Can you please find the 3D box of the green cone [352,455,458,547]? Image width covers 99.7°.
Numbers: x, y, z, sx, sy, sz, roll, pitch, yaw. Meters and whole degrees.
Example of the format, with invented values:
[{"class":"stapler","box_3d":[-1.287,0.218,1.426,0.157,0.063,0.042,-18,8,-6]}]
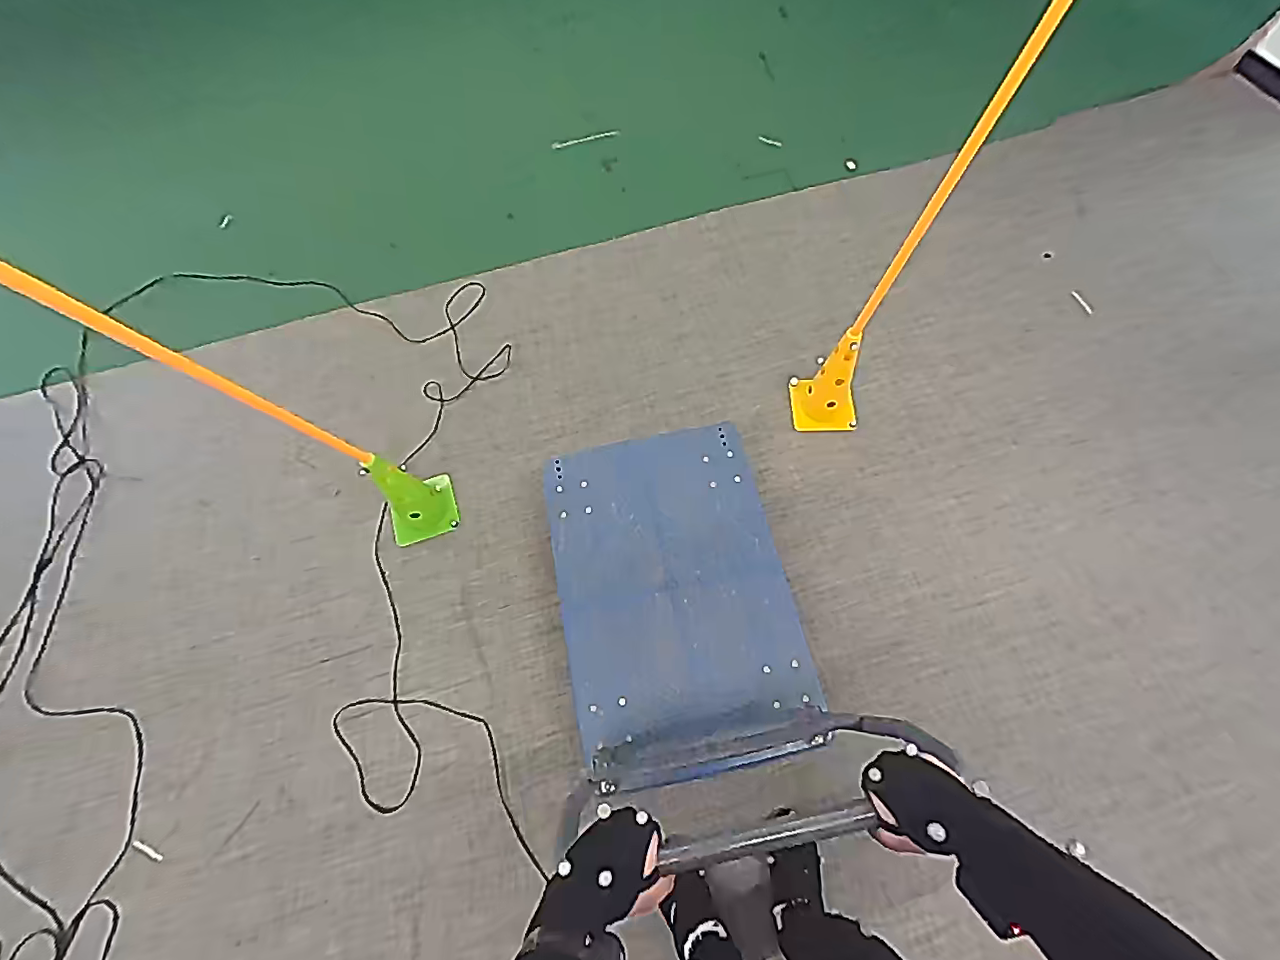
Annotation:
[{"class":"green cone","box_3d":[-0.696,0.022,1.540,0.202,0.368,0.200,-20,65,-4]}]
